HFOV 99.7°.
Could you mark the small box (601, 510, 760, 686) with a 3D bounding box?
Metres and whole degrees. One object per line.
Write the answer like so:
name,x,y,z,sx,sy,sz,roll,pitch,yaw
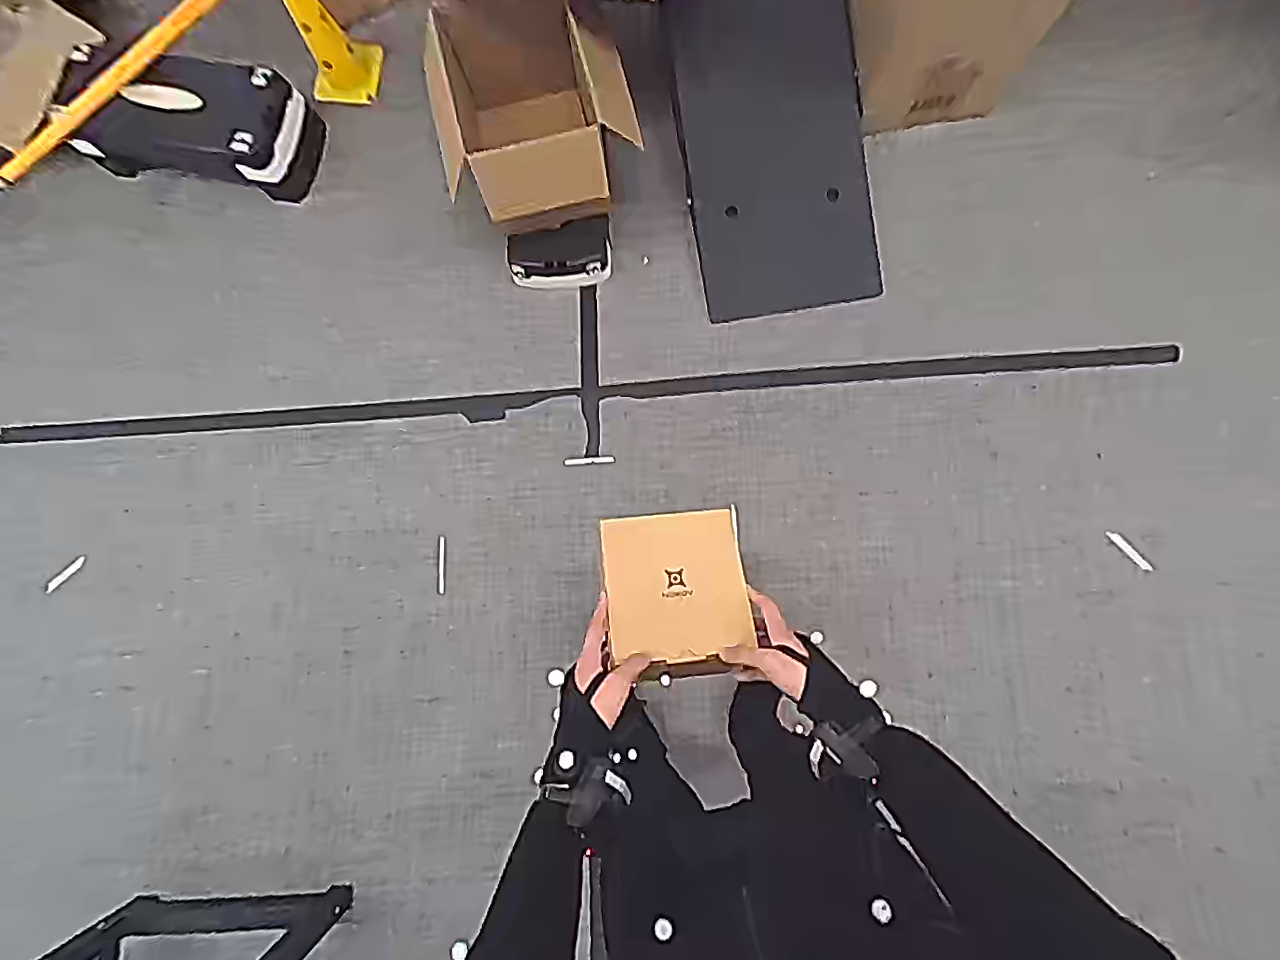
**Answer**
small box,0.038,0.155,0.693,0.168,0.176,0.179,-5,64,-6
